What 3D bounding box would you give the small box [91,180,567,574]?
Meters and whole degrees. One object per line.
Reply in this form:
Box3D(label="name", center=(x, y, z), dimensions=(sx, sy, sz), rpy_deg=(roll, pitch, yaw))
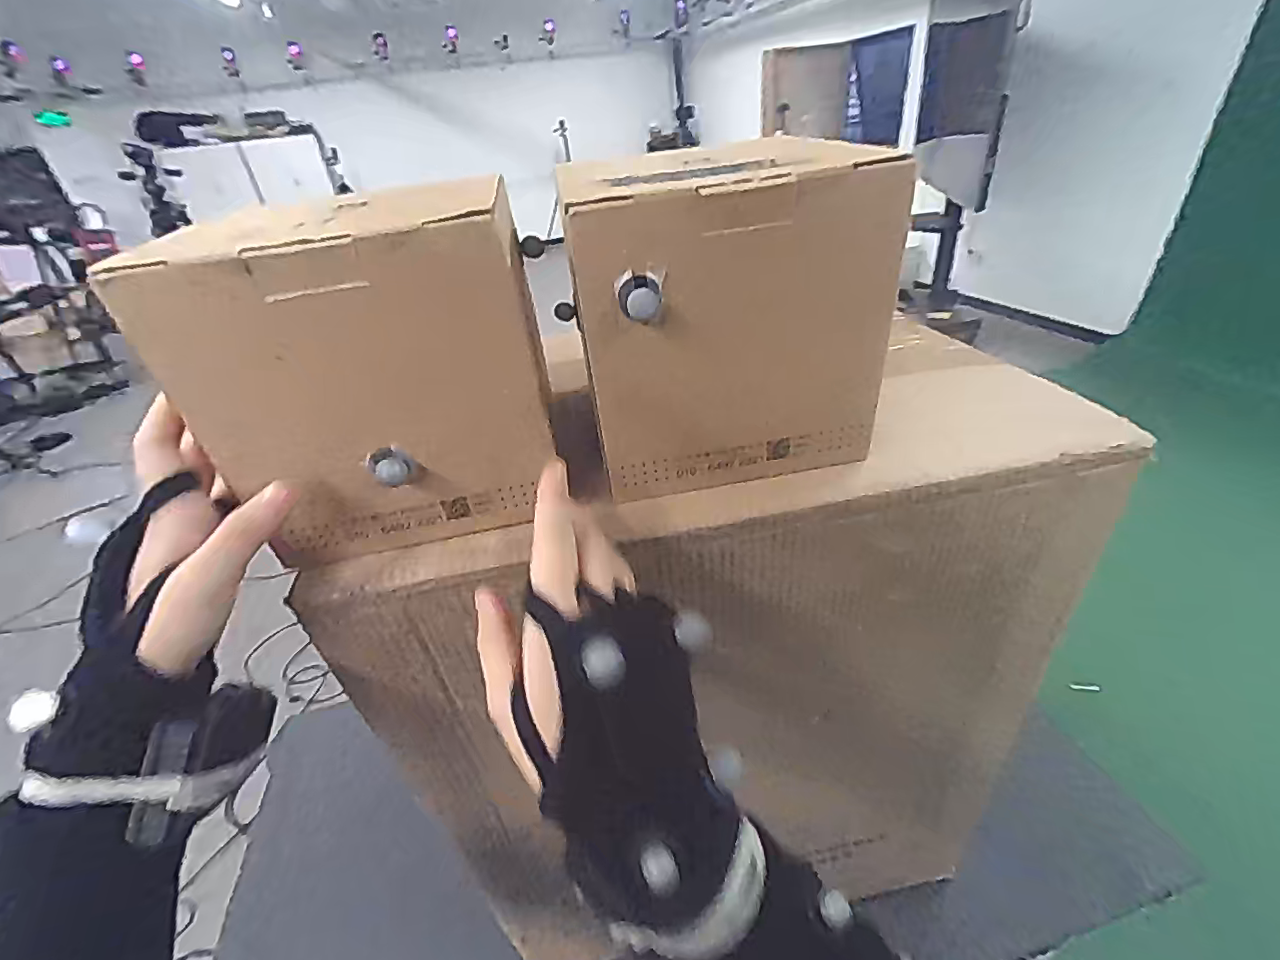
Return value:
Box3D(label="small box", center=(-0.144, -0.071, 0.332), dimensions=(0.168, 0.176, 0.179), rpy_deg=(-12, 36, -5))
